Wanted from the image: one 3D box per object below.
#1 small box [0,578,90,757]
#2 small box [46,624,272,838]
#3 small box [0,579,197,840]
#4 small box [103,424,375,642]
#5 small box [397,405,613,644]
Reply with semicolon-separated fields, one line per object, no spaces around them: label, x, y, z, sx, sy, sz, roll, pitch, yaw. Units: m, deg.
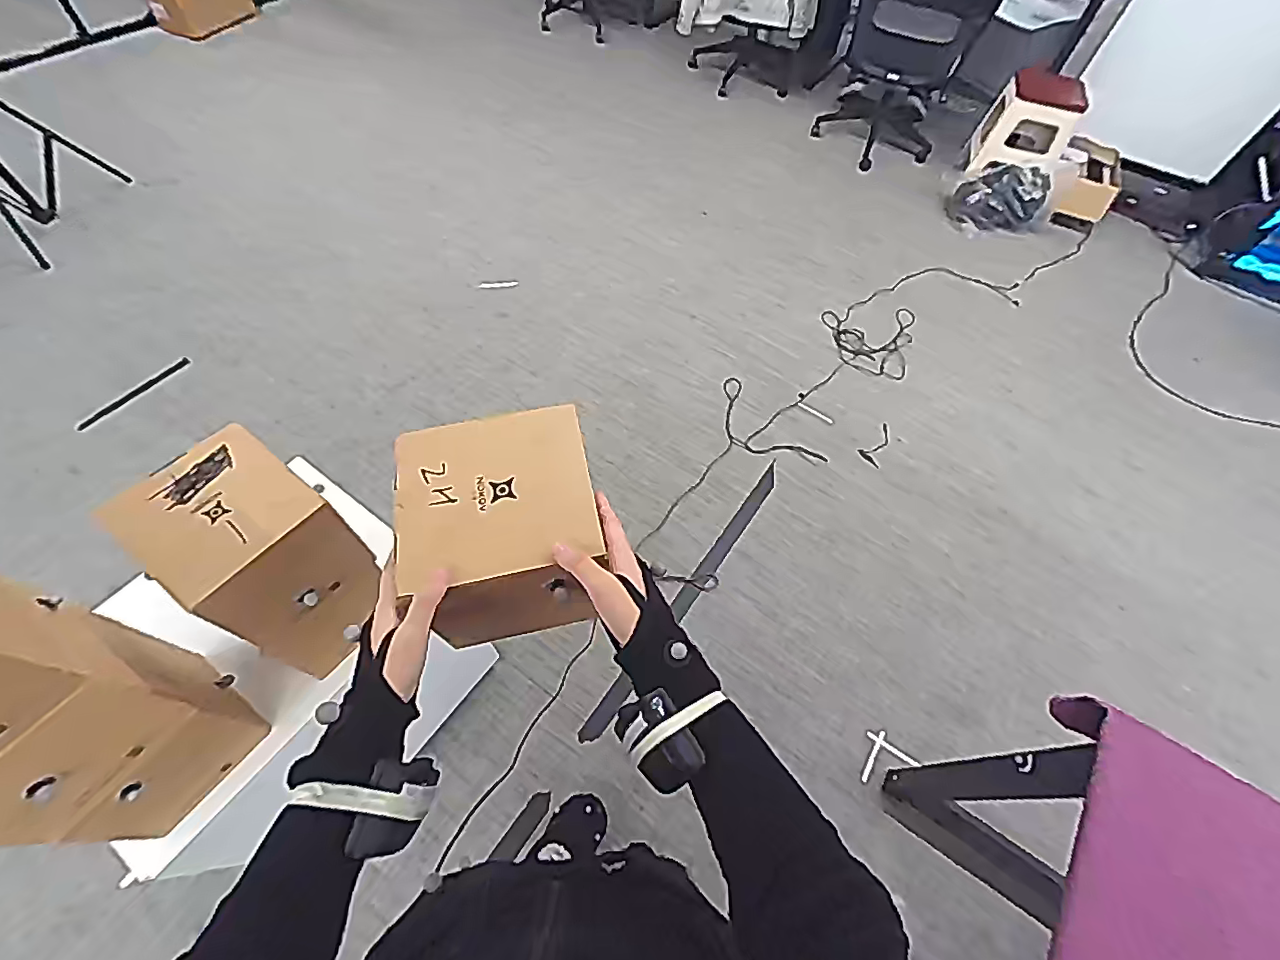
small box;-0.609;0.149;0.414;0.179;0.176;0.168;32;62;14
small box;-0.629;0.321;0.688;0.179;0.176;0.168;32;63;16
small box;-0.618;0.236;0.550;0.179;0.176;0.168;31;62;15
small box;-0.467;0.072;0.660;0.179;0.176;0.168;35;63;15
small box;-0.125;0.051;0.546;0.179;0.176;0.168;-11;60;-6
